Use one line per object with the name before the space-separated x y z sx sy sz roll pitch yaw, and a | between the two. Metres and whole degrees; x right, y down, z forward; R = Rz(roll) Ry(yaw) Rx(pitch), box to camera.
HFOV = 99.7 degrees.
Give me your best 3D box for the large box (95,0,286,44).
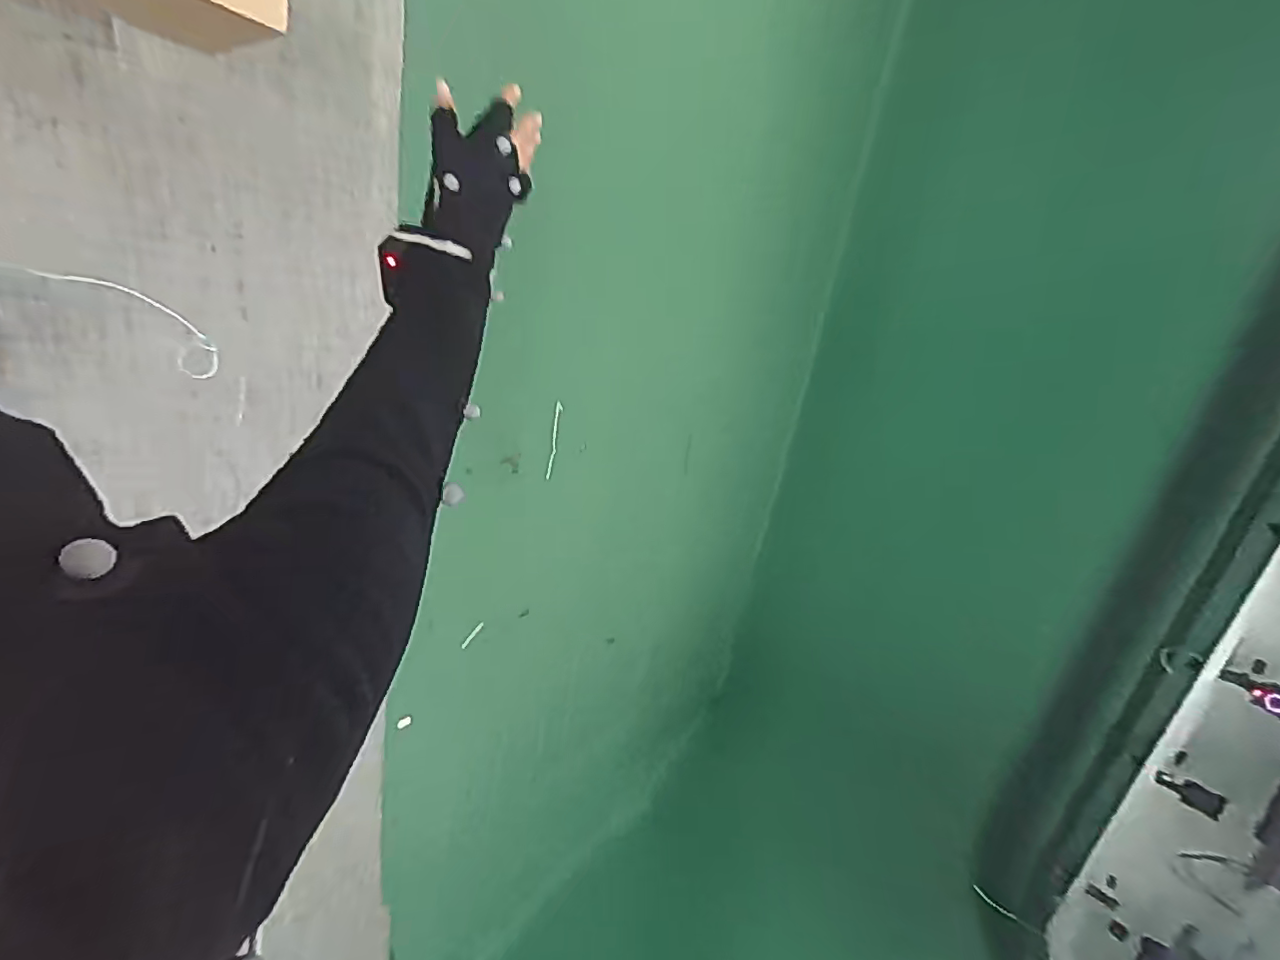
large box | -0.707 -0.800 0.644 0.408 0.320 0.320 -12 119 -51
